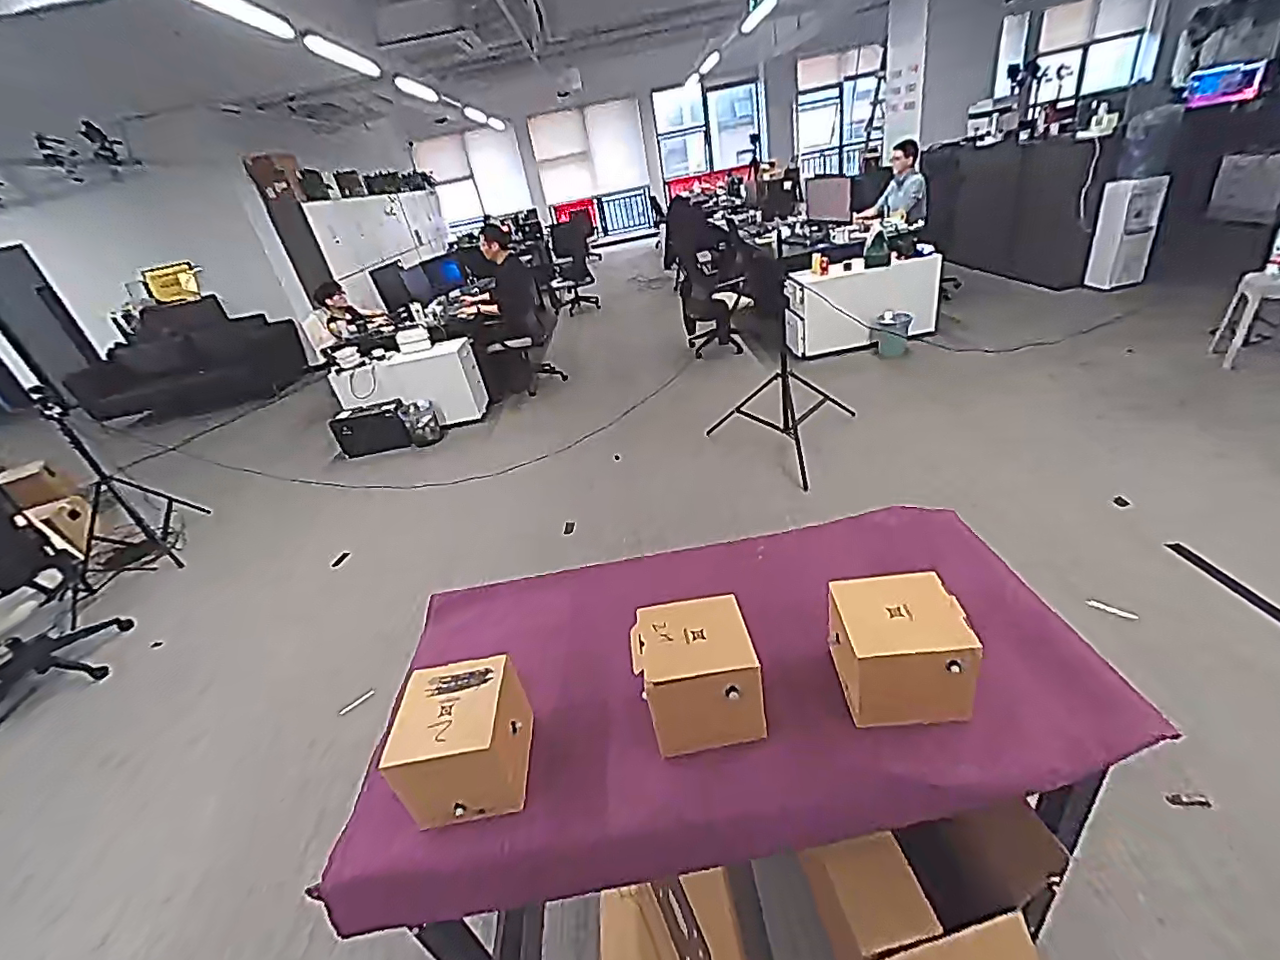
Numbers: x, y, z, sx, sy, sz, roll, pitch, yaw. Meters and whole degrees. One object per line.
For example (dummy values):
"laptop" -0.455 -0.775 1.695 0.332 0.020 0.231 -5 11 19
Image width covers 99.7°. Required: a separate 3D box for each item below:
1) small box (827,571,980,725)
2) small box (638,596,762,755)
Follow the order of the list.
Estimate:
"small box" 0.413 0.273 0.875 0.179 0.176 0.168 -8 30 7
"small box" 0.100 0.323 0.899 0.179 0.176 0.168 -12 27 1
